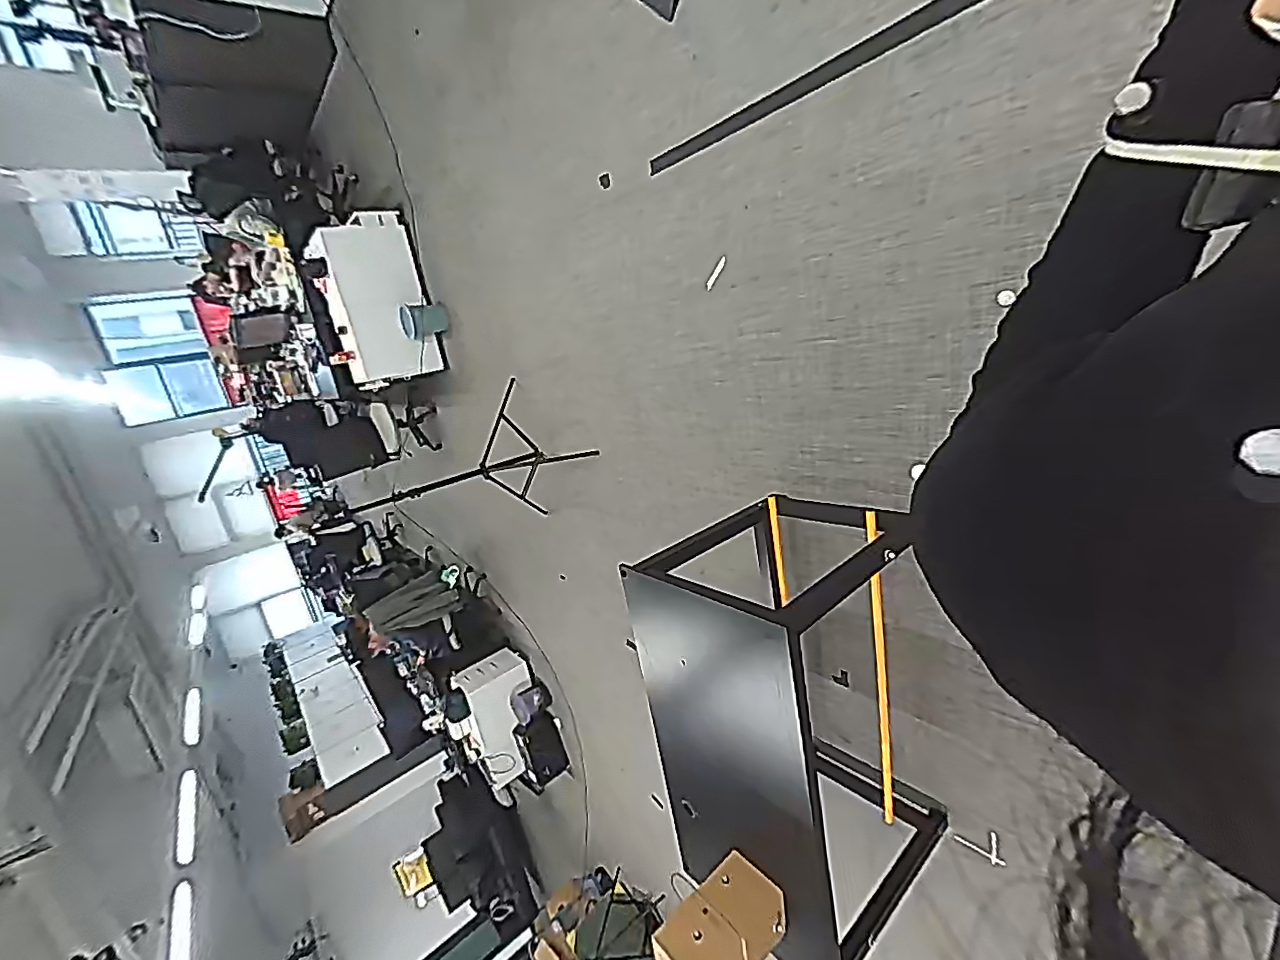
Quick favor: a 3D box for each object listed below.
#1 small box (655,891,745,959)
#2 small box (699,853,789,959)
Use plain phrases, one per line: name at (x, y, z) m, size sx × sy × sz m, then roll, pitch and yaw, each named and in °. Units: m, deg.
small box at (0.165, 1.256, 1.432) m, size 0.168 × 0.176 × 0.179 m, roll 14°, pitch 120°, yaw 51°
small box at (0.294, 1.200, 1.518) m, size 0.179 × 0.176 × 0.168 m, roll 13°, pitch 119°, yaw 49°
